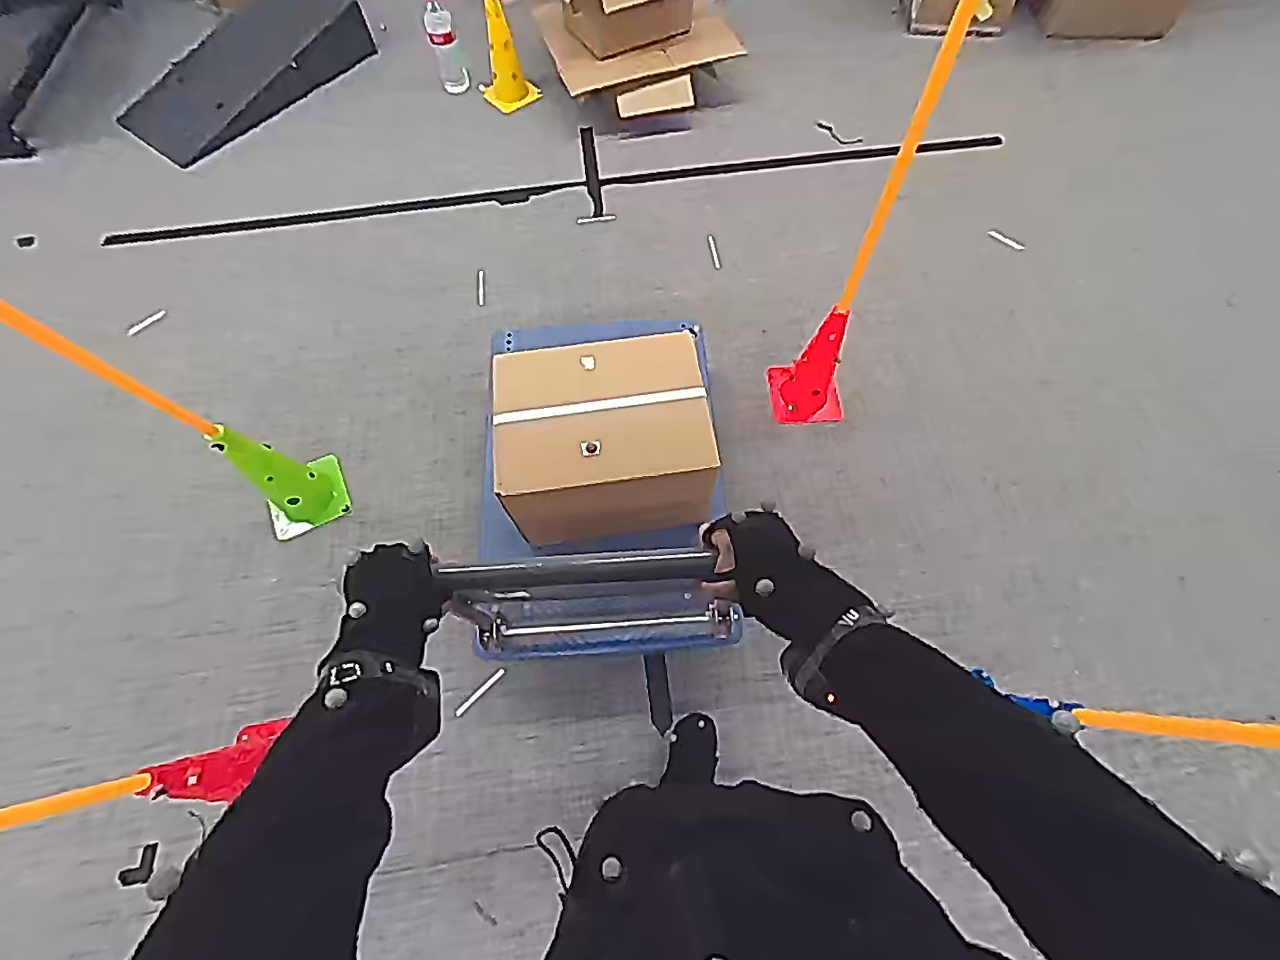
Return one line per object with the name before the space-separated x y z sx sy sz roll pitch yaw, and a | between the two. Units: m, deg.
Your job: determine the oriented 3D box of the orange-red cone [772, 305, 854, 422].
orange-red cone | 0.494 -0.329 1.440 0.199 0.360 0.198 -1 65 -1
